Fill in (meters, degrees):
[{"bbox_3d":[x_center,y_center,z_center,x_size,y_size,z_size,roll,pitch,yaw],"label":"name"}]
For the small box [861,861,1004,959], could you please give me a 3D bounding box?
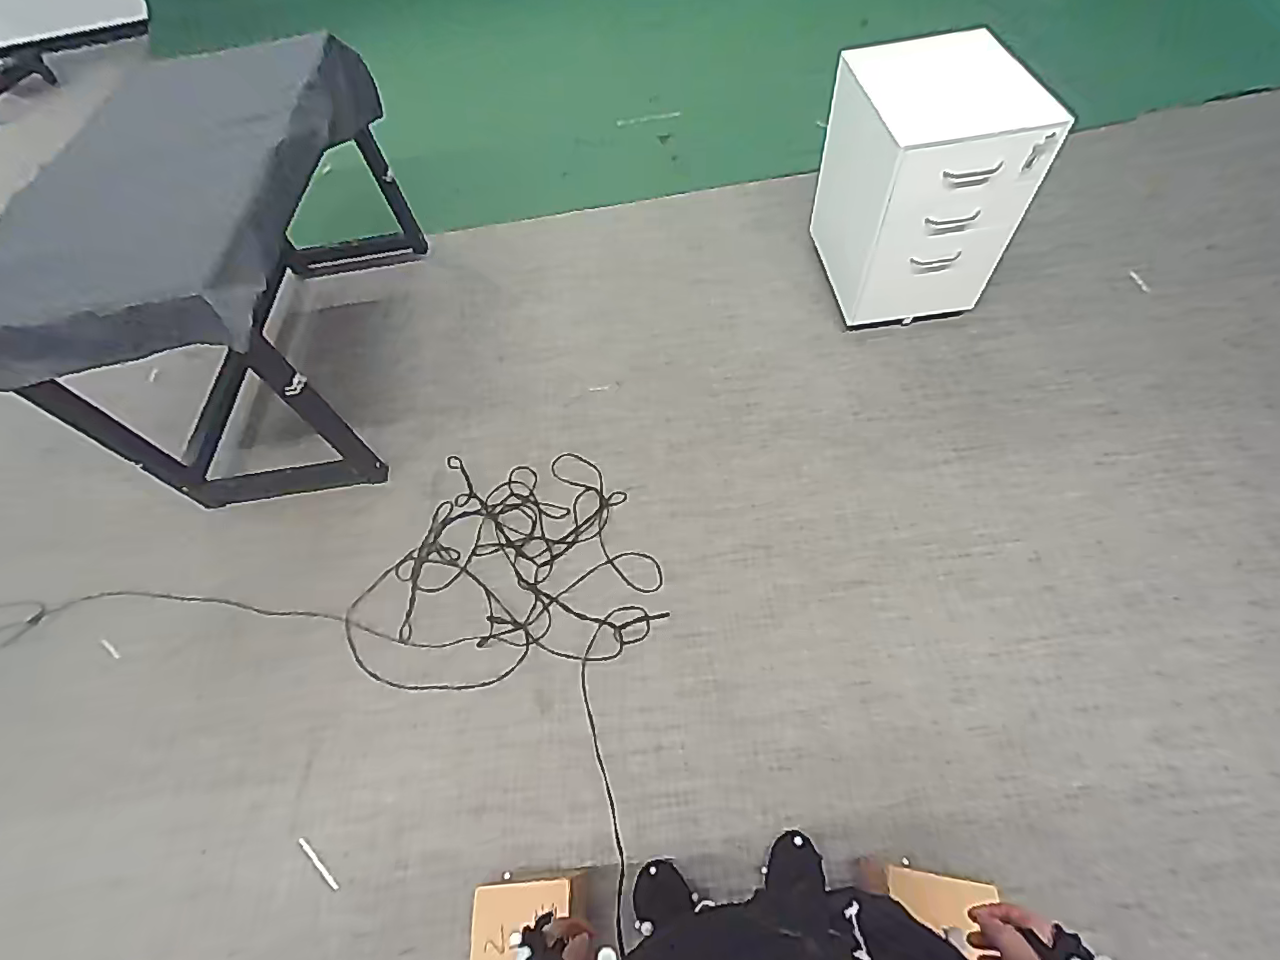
[{"bbox_3d":[0.499,0.780,0.939,0.179,0.176,0.168,4,60,10],"label":"small box"}]
